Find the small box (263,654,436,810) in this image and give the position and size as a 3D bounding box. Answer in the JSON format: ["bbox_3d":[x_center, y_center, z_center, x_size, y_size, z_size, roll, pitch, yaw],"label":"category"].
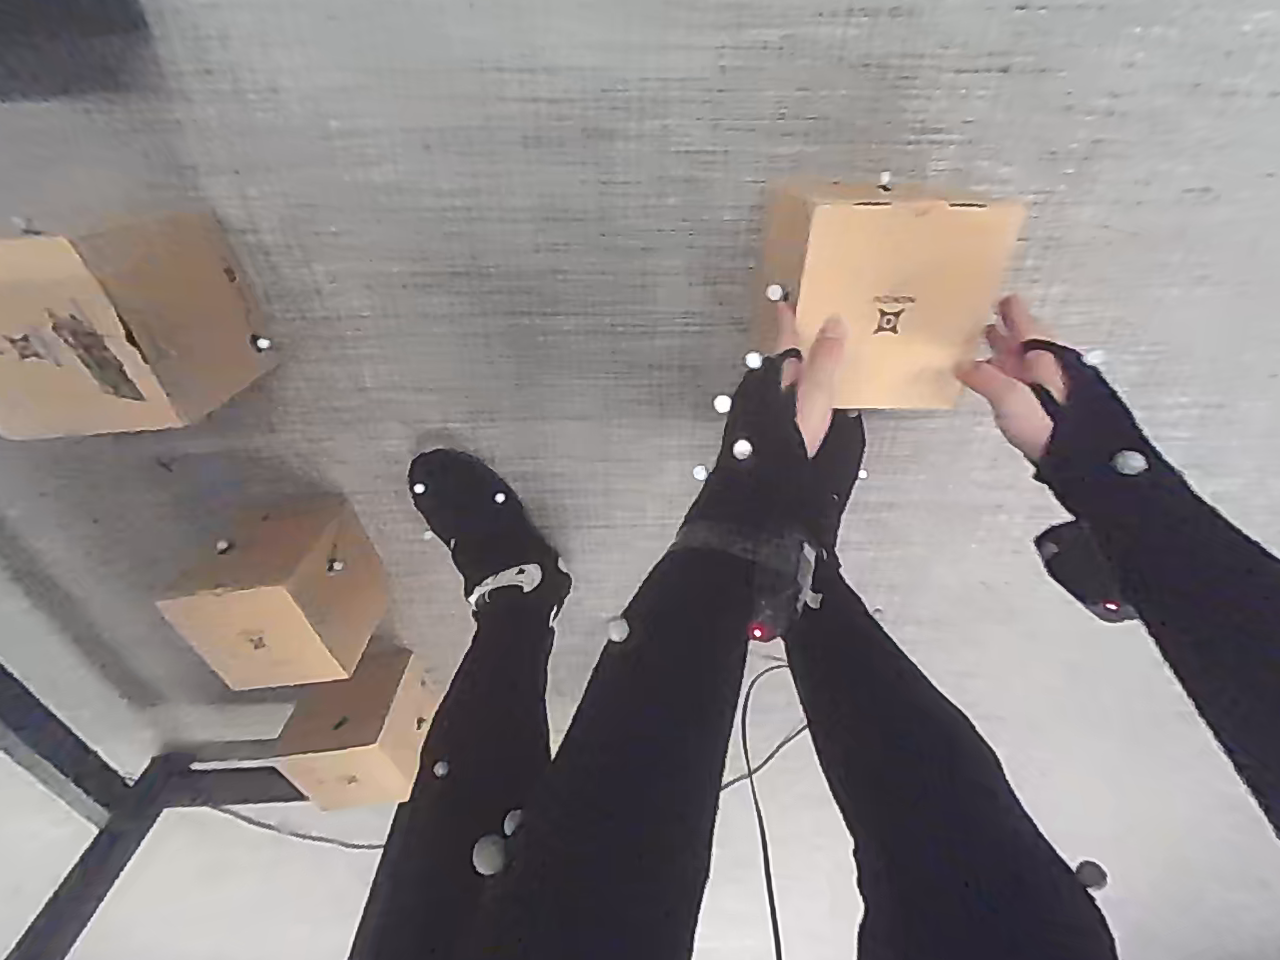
[{"bbox_3d":[-0.455,0.408,0.889,0.179,0.176,0.168,-9,123,4],"label":"small box"}]

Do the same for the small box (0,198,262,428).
[{"bbox_3d":[-0.505,-0.164,0.513,0.179,0.176,0.168,-4,123,2],"label":"small box"}]

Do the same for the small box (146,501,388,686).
[{"bbox_3d":[-0.468,0.141,0.716,0.168,0.176,0.179,-7,124,4],"label":"small box"}]

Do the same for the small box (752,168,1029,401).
[{"bbox_3d":[0.211,-0.191,0.519,0.168,0.176,0.179,0,123,-3],"label":"small box"}]
